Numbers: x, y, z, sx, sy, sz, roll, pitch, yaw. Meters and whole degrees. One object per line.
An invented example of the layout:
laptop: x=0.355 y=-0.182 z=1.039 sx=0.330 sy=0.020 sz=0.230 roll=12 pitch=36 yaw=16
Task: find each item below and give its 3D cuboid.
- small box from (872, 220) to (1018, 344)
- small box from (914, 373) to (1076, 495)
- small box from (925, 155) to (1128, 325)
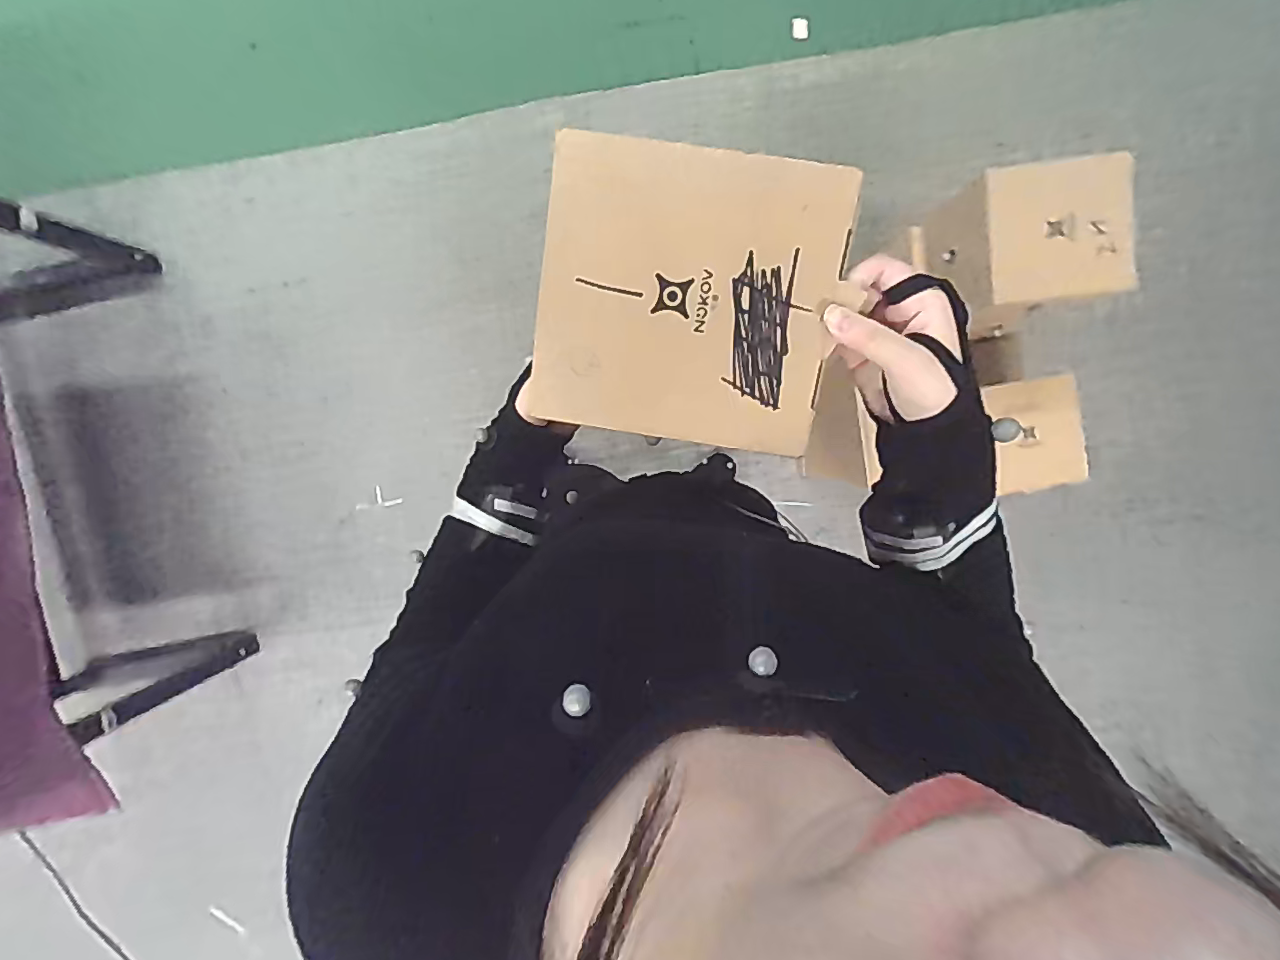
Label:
small box: x=0.508 y=-0.331 z=0.913 sx=0.179 sy=0.176 sz=0.168 roll=-7 pitch=96 yaw=2
small box: x=0.600 y=-0.078 z=0.933 sx=0.168 sy=0.176 sz=0.179 roll=-8 pitch=93 yaw=1
small box: x=0.516 y=-0.317 z=0.749 sx=0.179 sy=0.176 sz=0.168 roll=-5 pitch=96 yaw=2
